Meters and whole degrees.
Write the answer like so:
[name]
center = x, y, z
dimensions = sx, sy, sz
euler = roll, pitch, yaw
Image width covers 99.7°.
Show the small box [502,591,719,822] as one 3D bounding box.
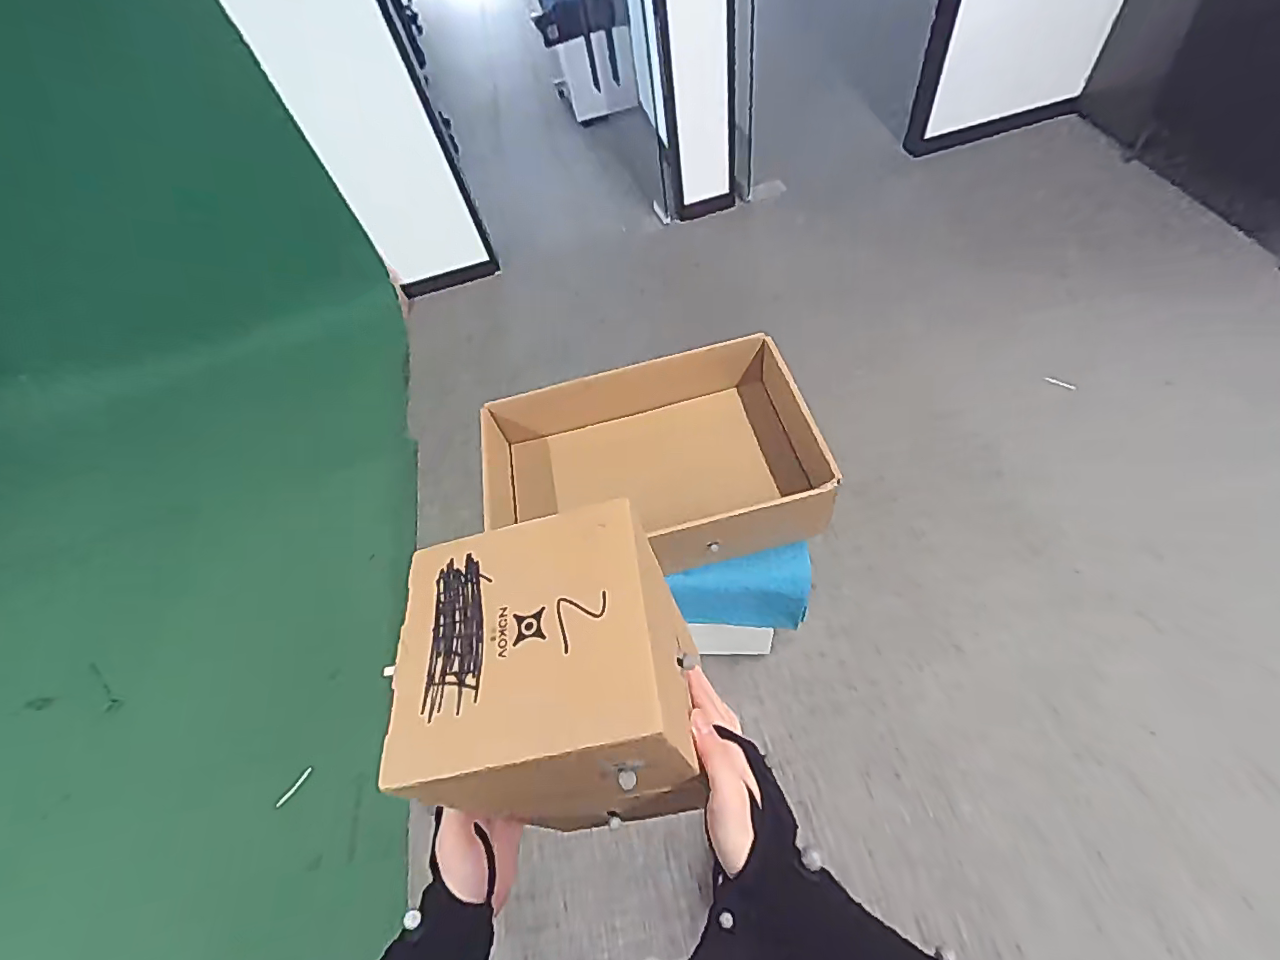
[small box]
center = -0.022, 0.236, 0.551
dimensions = 0.179, 0.176, 0.168
euler = -15, 52, 7
